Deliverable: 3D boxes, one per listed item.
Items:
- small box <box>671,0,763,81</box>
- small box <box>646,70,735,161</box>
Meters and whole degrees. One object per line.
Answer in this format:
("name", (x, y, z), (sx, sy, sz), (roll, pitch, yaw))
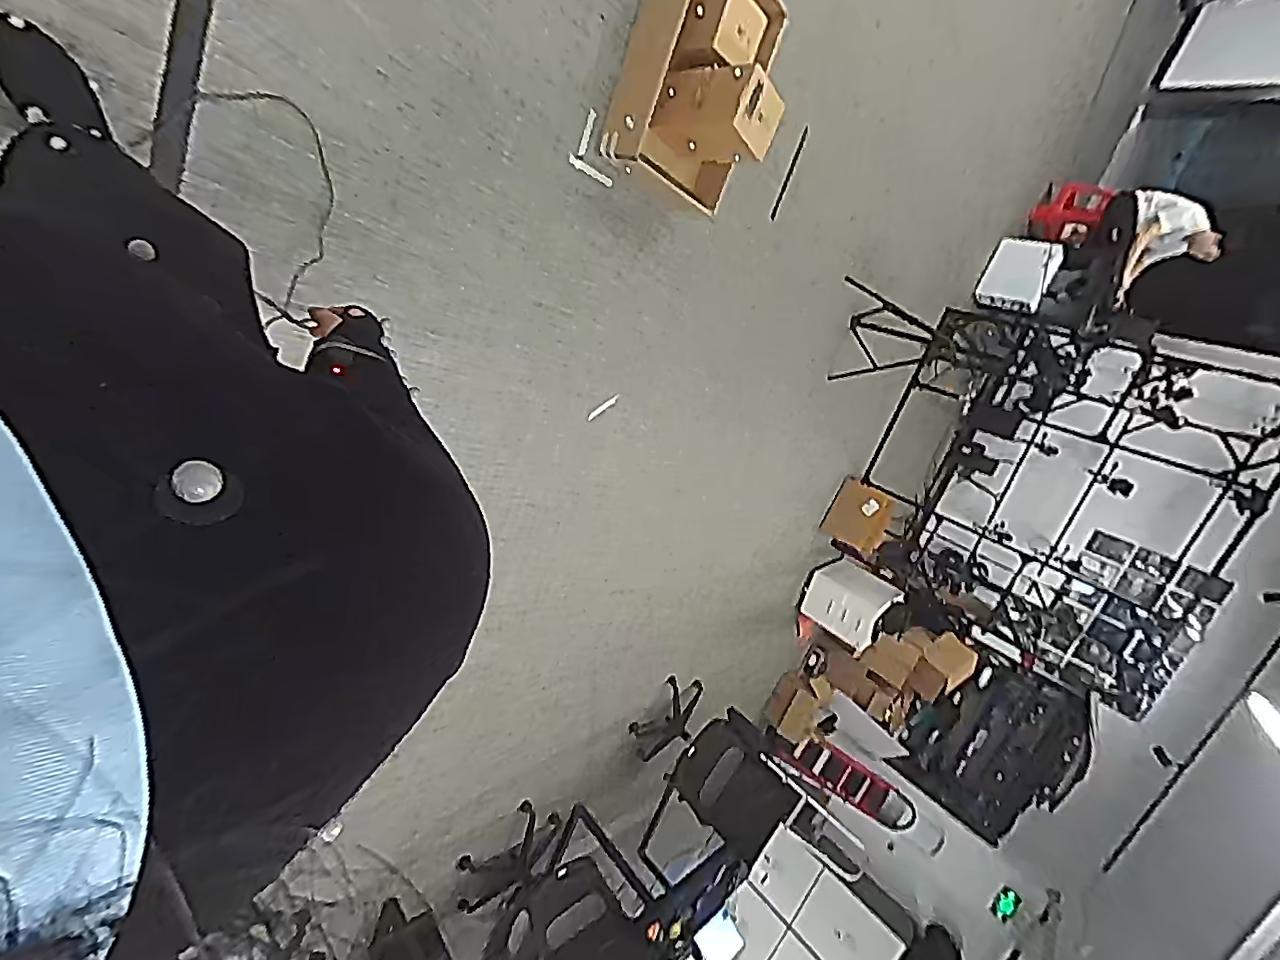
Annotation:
("small box", (0.220, -1.300, 1.579), (0.179, 0.176, 0.168), (3, 115, -48))
("small box", (0.153, -1.105, 1.646), (0.179, 0.176, 0.168), (12, 103, -49))
